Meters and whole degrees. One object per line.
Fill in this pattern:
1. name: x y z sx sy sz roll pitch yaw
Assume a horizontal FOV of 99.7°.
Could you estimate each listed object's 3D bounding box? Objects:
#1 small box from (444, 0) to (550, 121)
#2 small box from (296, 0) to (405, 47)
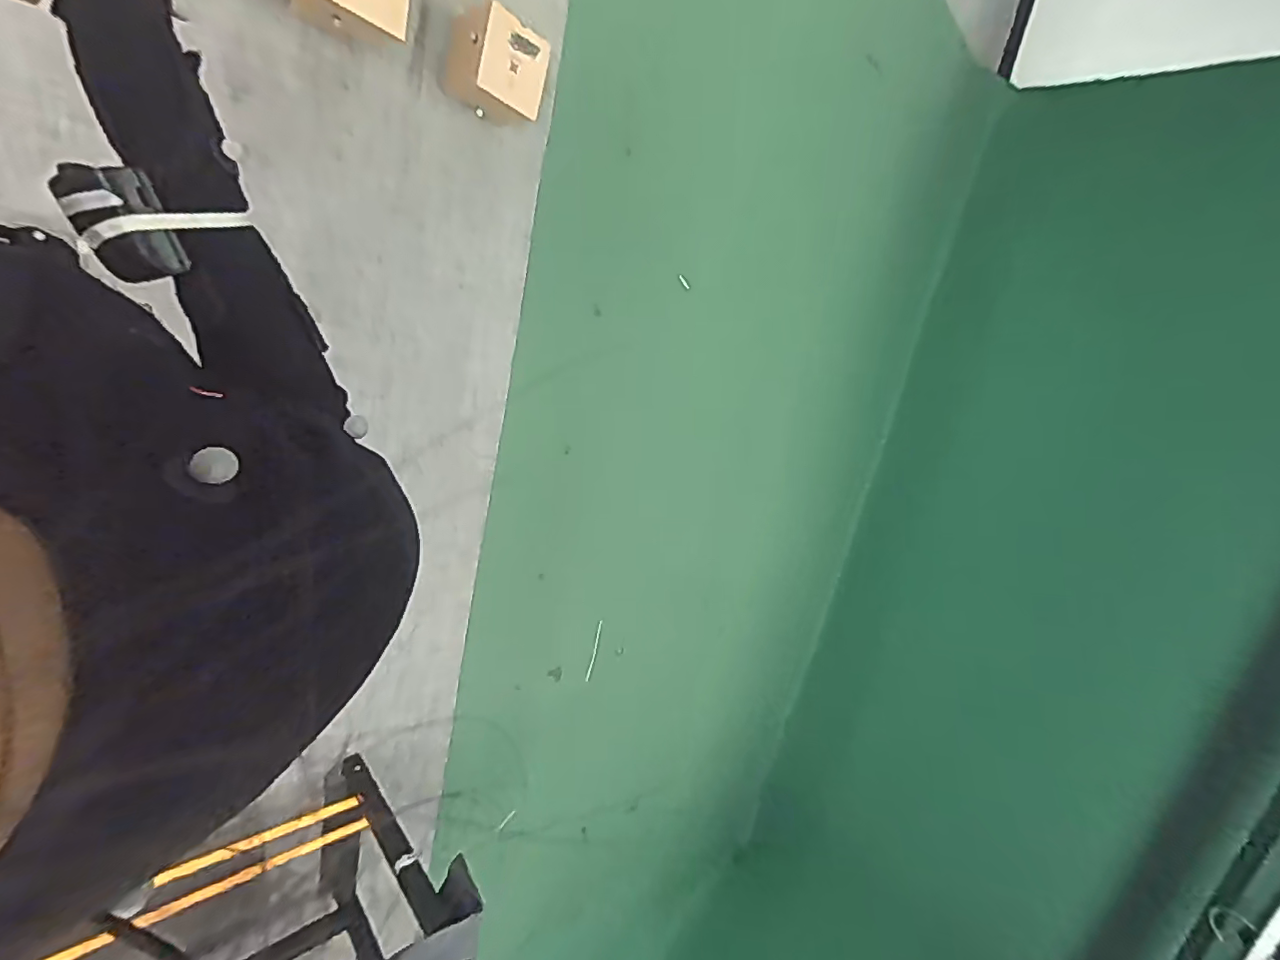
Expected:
1. small box: -0.347 -0.999 1.297 0.168 0.176 0.179 3 107 -47
2. small box: -0.571 -1.001 1.061 0.168 0.176 0.179 -2 109 -46
